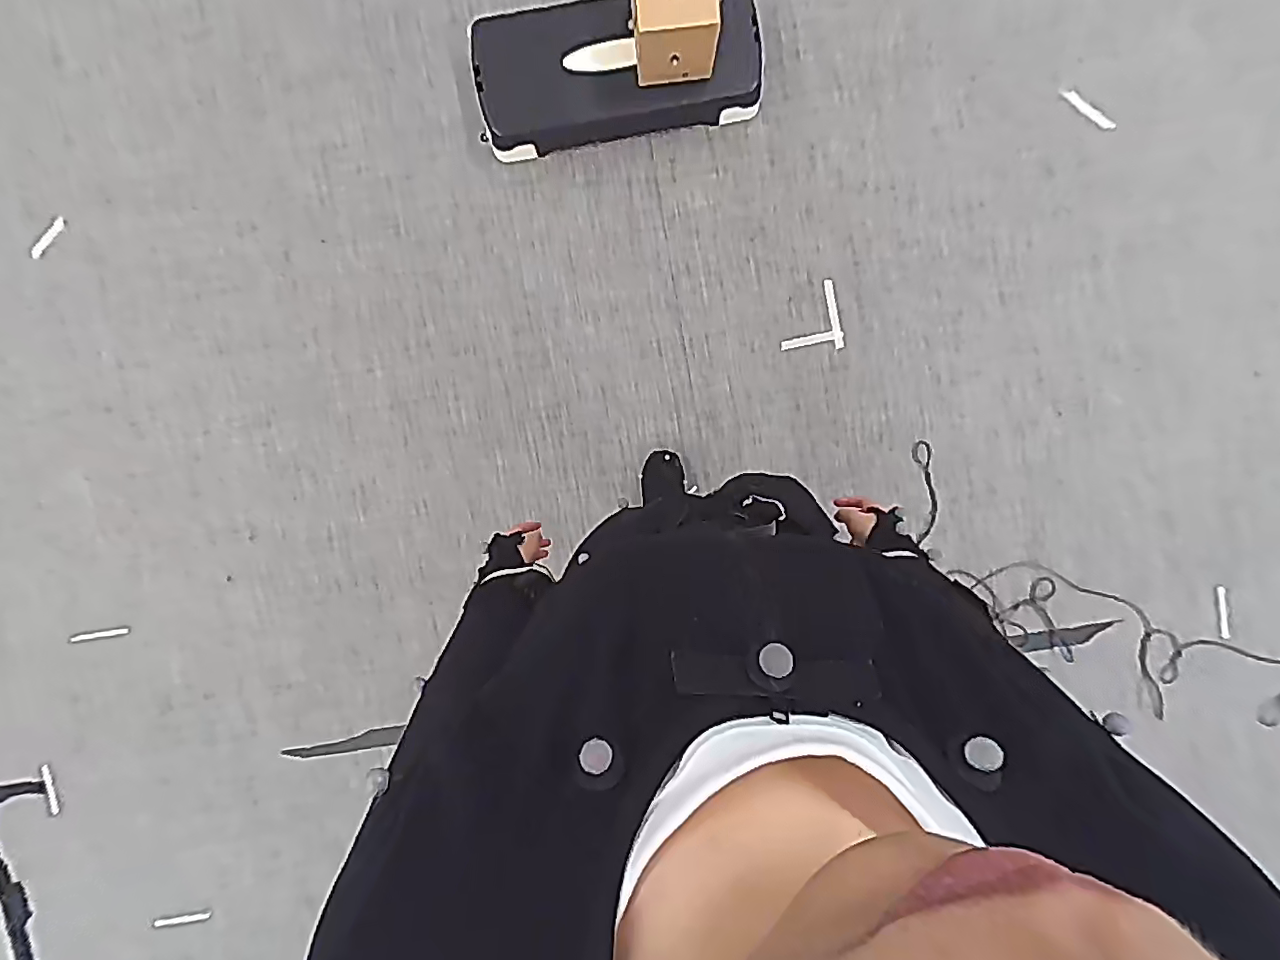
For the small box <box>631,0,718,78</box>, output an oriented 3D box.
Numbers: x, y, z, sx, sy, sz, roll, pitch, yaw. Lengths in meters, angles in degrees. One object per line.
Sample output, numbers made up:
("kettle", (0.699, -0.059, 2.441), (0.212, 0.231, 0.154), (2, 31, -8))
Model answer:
("small box", (0.069, -0.991, 1.145), (0.168, 0.176, 0.179), (-6, 94, 0))
